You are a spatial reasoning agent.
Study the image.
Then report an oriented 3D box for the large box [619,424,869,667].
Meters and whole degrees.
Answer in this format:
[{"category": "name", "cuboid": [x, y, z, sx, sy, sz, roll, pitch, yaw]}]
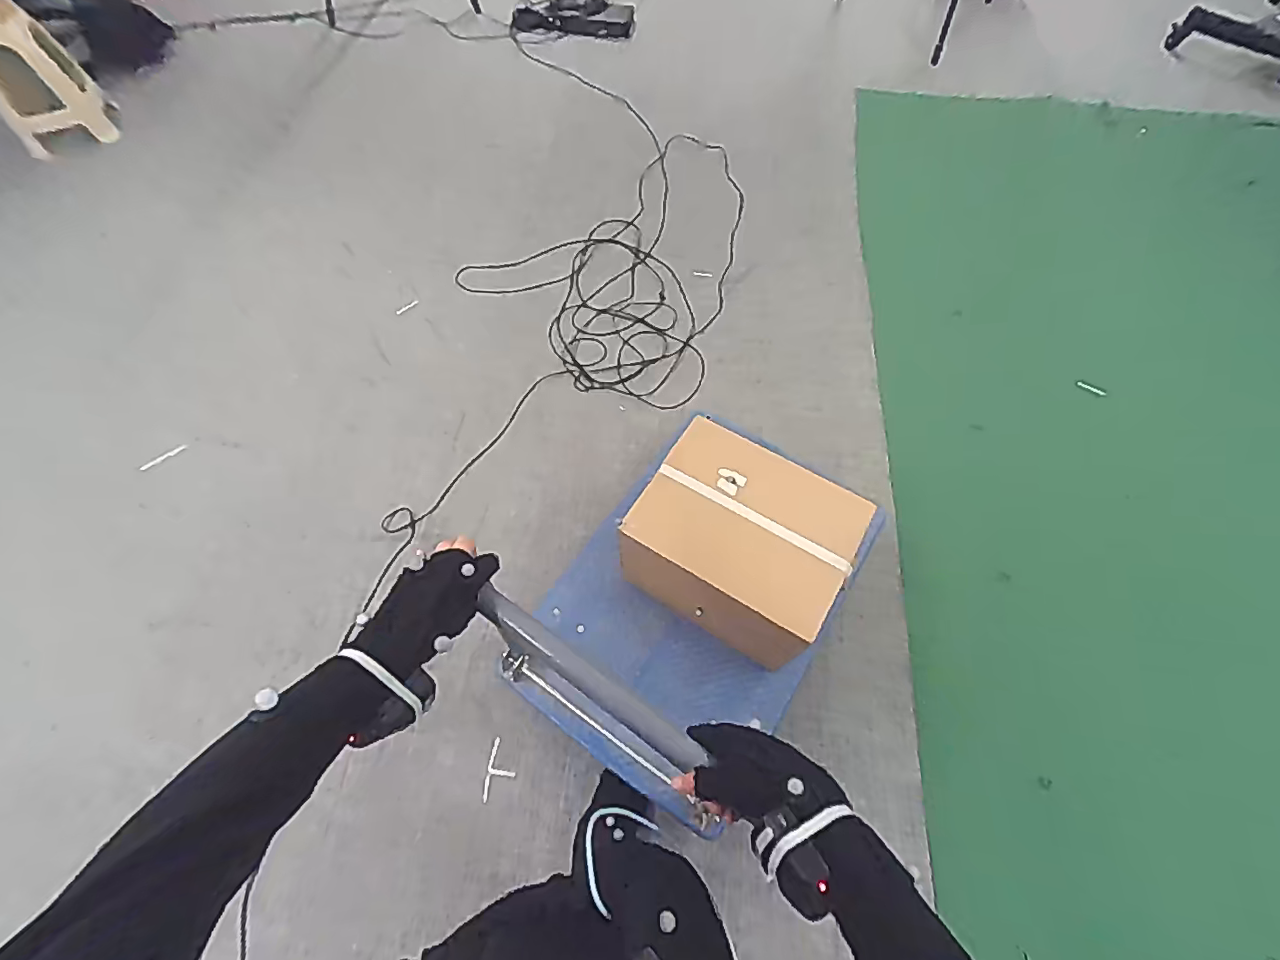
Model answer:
[{"category": "large box", "cuboid": [0.210, 0.151, 1.182, 0.408, 0.320, 0.320, 29, 65, 16]}]
